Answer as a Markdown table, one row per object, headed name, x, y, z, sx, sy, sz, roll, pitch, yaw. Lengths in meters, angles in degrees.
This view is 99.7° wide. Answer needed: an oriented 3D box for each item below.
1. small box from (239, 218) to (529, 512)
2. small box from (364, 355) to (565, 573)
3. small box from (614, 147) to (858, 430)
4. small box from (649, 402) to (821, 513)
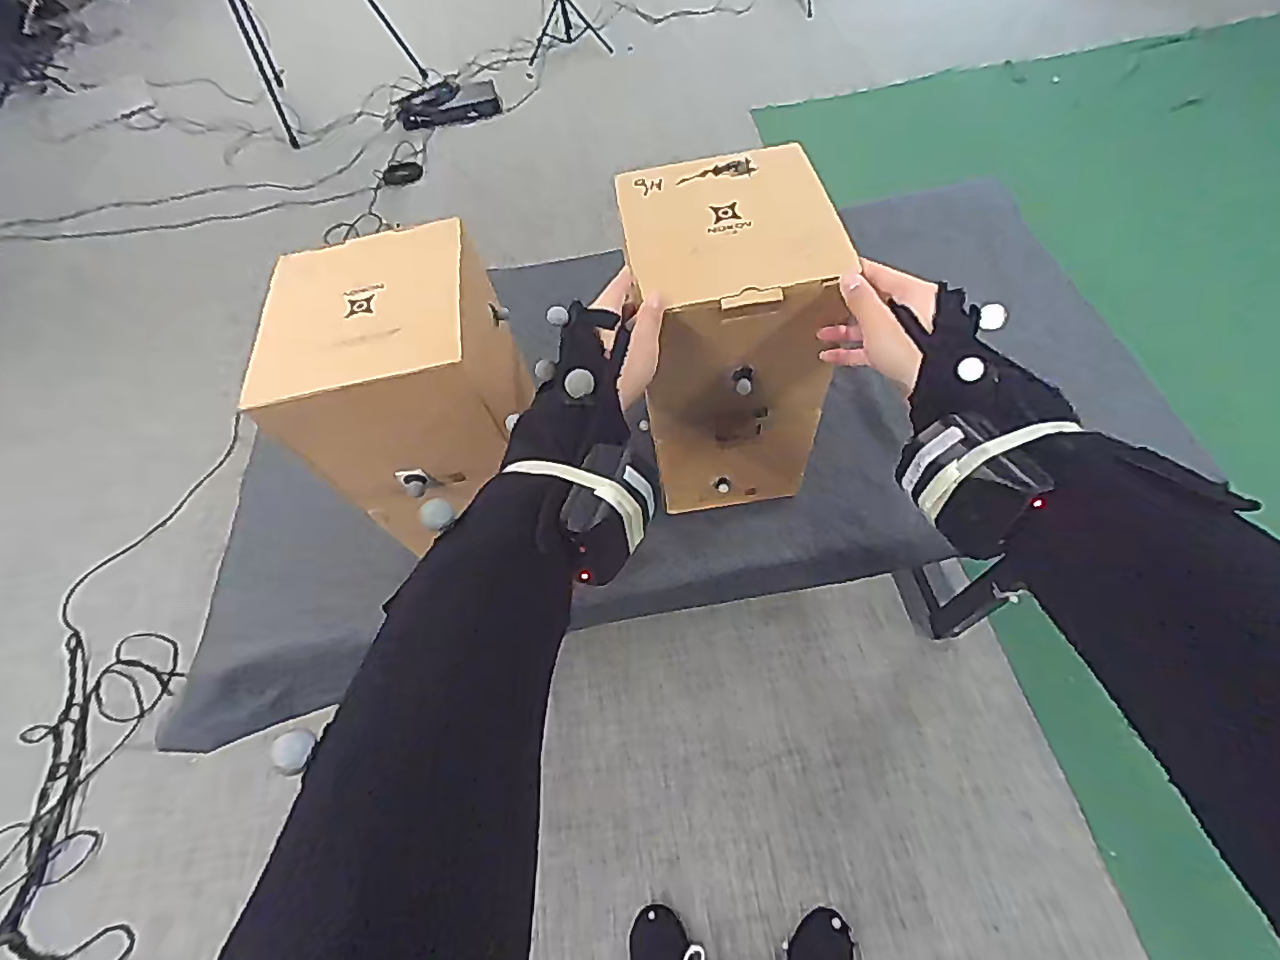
| name | x | y | z | sx | sy | sz | roll | pitch | yaw |
| --- | --- | --- | --- | --- | --- | --- | --- | --- | --- |
| small box | -0.208 | -0.096 | 0.490 | 0.168 | 0.176 | 0.179 | -13 | 60 | 1 |
| small box | -0.191 | -0.013 | 0.629 | 0.168 | 0.176 | 0.179 | -12 | 59 | 0 |
| small box | 0.075 | -0.160 | 0.495 | 0.168 | 0.176 | 0.179 | -9 | 60 | 1 |
| small box | 0.094 | -0.083 | 0.637 | 0.168 | 0.176 | 0.179 | -9 | 59 | 1 |
